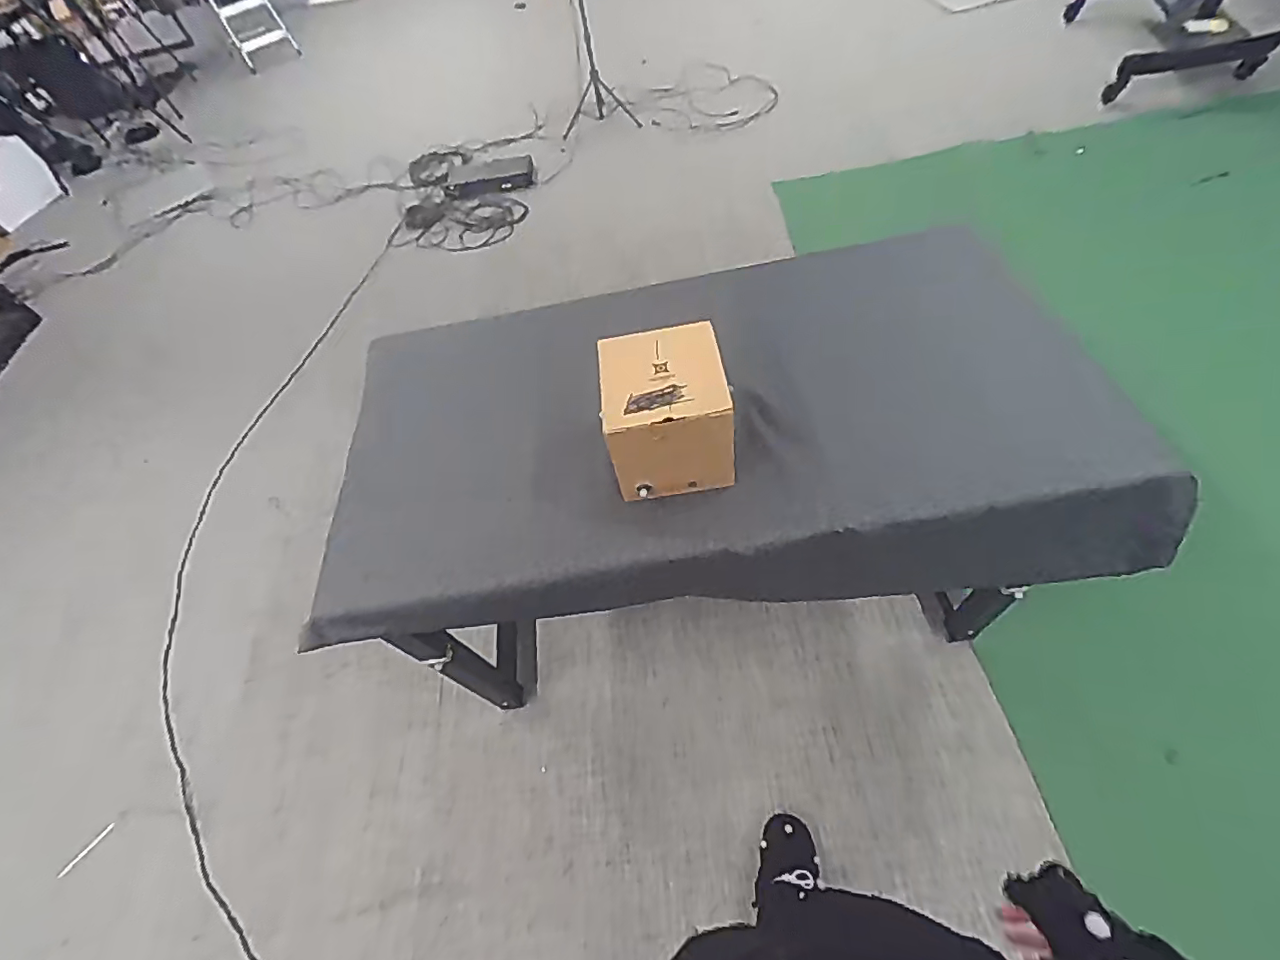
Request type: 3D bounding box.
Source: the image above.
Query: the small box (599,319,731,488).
[{"bbox_3d":[0.038,-0.101,0.790,0.168,0.176,0.179,-9,55,4],"label":"small box"}]
